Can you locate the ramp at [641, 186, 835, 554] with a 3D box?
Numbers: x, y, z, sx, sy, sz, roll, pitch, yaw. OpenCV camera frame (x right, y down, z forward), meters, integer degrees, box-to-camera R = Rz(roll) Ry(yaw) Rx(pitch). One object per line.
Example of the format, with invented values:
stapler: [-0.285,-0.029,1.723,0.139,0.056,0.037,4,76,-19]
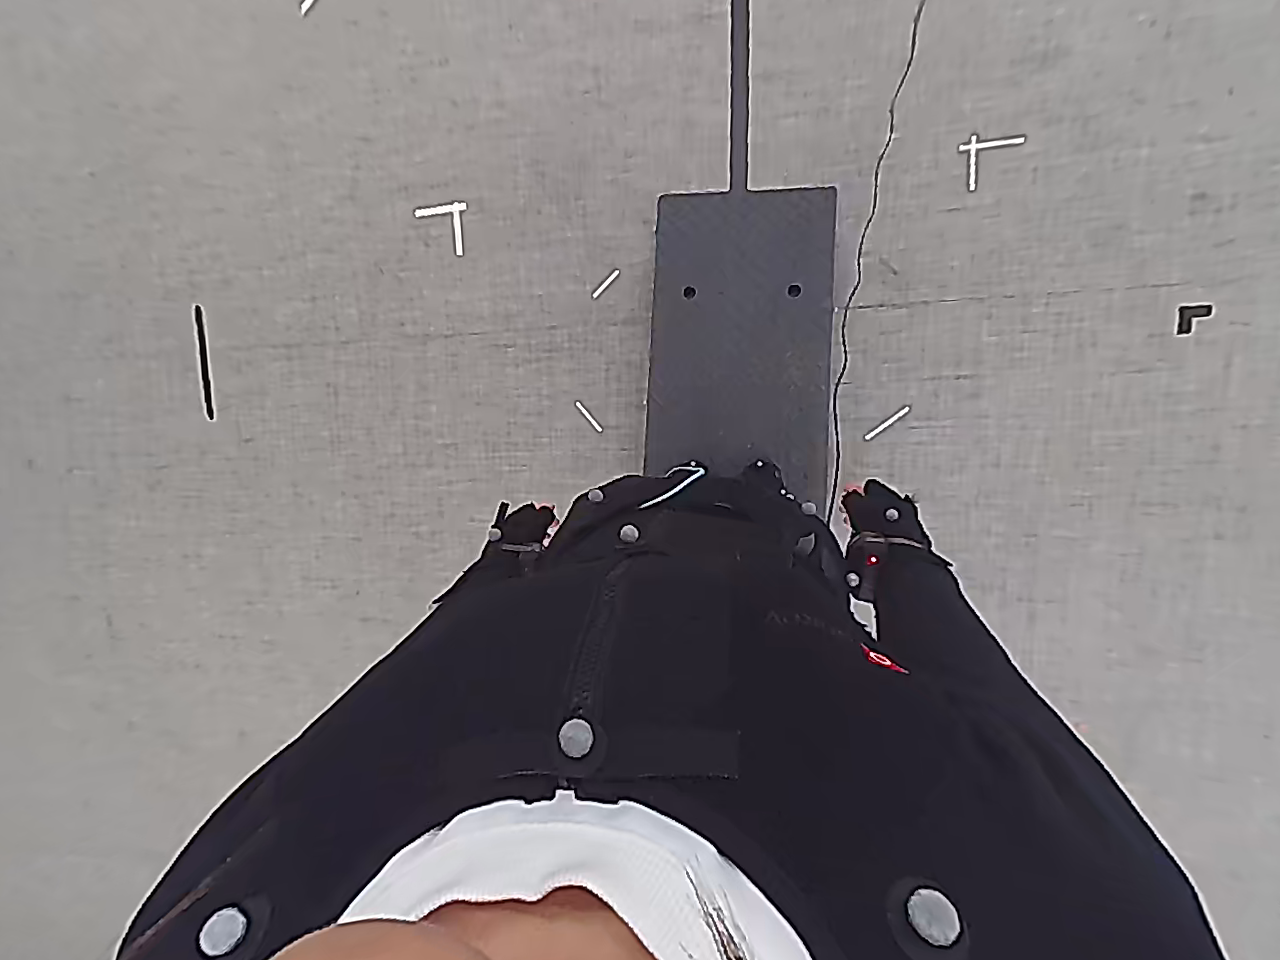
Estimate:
ramp: [0.265,-0.312,1.478,0.509,0.206,0.991,1,95,11]
